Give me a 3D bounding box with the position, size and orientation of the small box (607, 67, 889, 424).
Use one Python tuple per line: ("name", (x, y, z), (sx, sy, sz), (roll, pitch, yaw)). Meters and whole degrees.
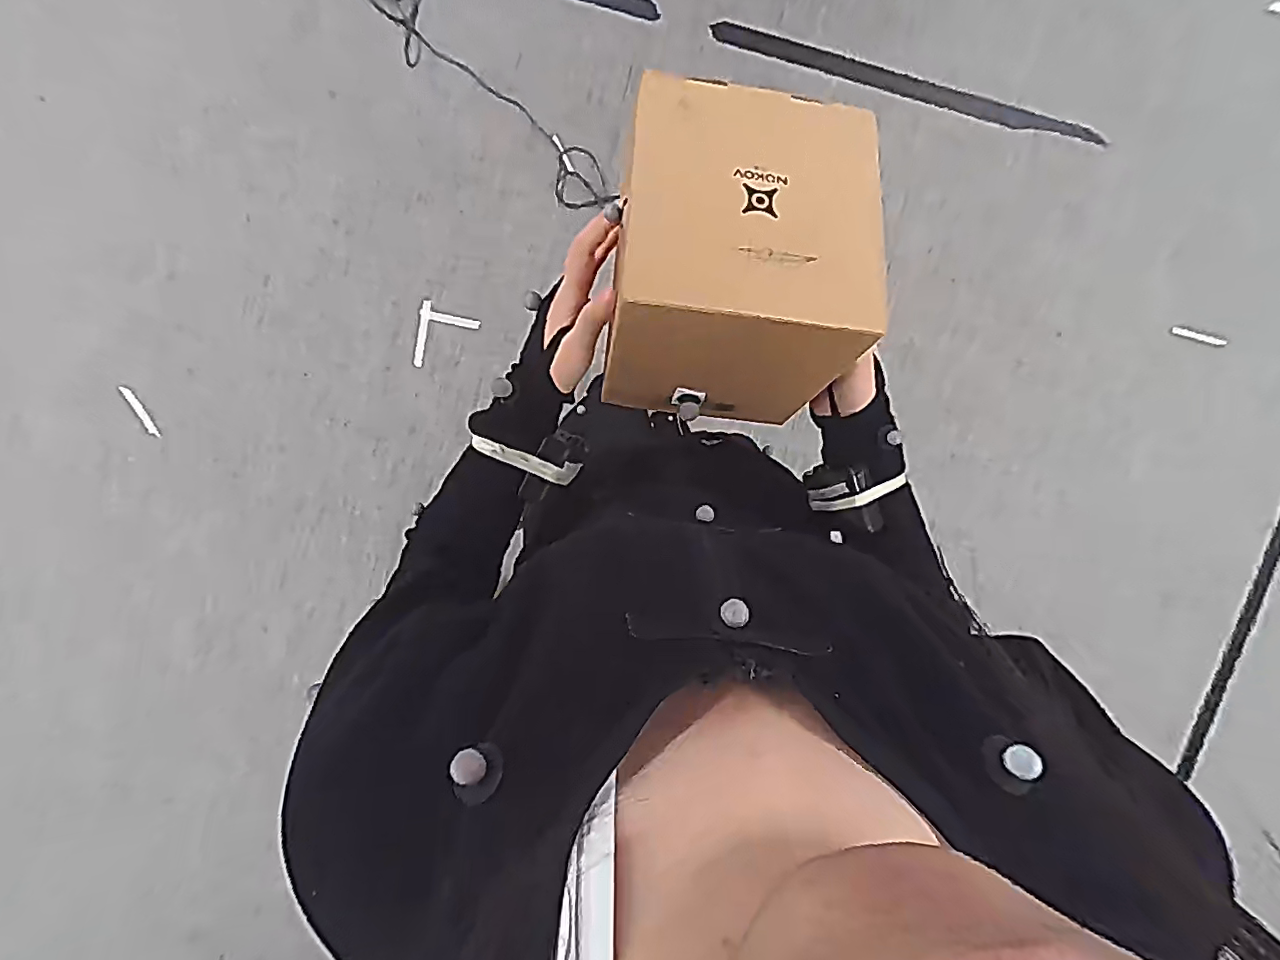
("small box", (0.065, -0.159, 0.417), (0.168, 0.176, 0.179), (5, 76, -6))
